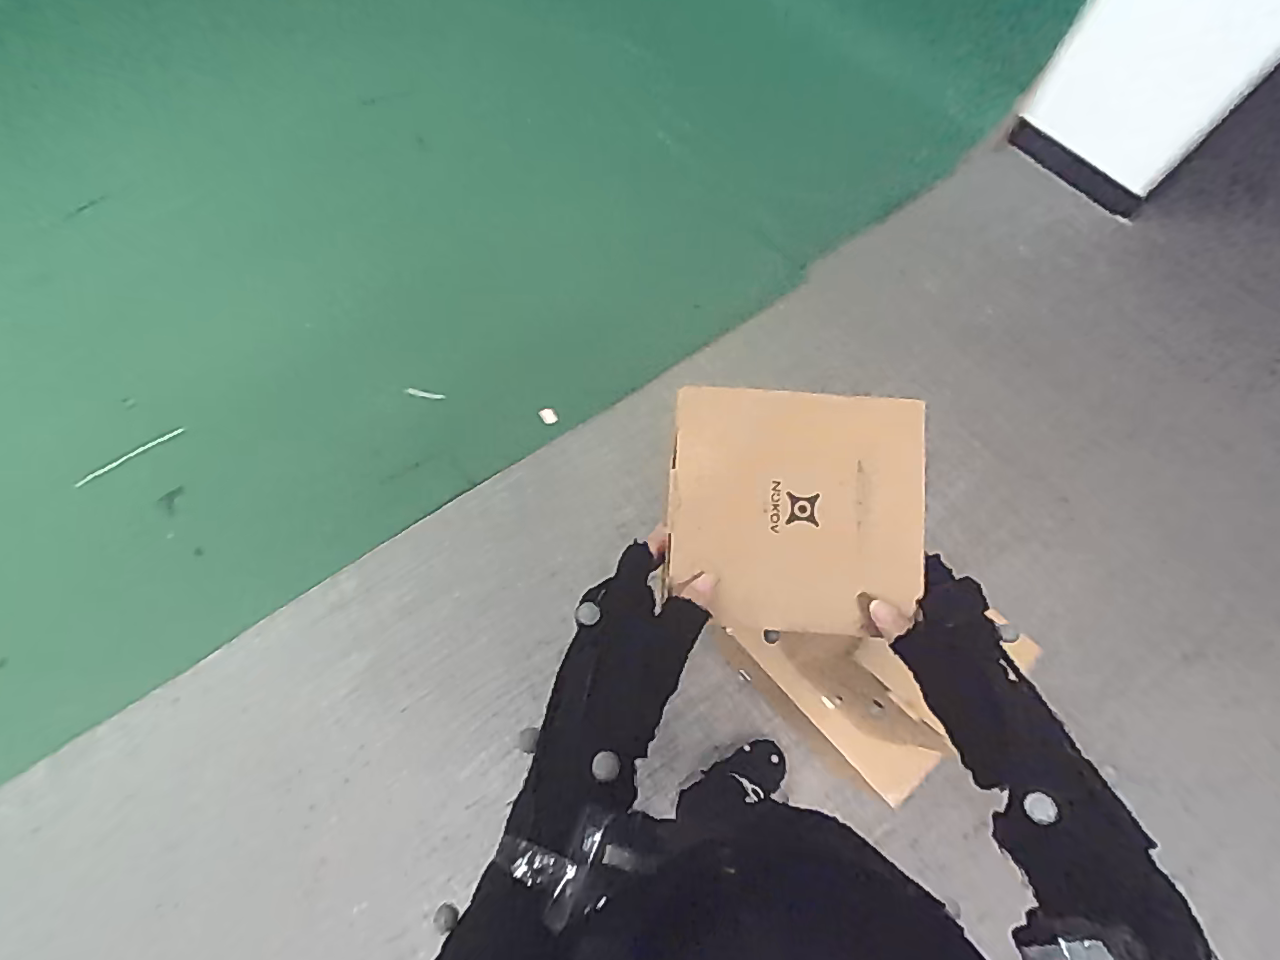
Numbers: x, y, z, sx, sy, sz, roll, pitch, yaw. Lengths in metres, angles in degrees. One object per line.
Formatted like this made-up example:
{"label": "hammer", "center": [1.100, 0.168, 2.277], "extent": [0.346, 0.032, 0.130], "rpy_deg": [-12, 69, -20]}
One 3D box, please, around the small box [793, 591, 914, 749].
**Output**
{"label": "small box", "center": [0.386, 0.309, 0.900], "extent": [0.179, 0.176, 0.168], "rpy_deg": [41, 76, 15]}

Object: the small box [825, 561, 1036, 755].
{"label": "small box", "center": [0.381, 0.245, 0.750], "extent": [0.179, 0.176, 0.168], "rpy_deg": [-43, 74, -12]}
